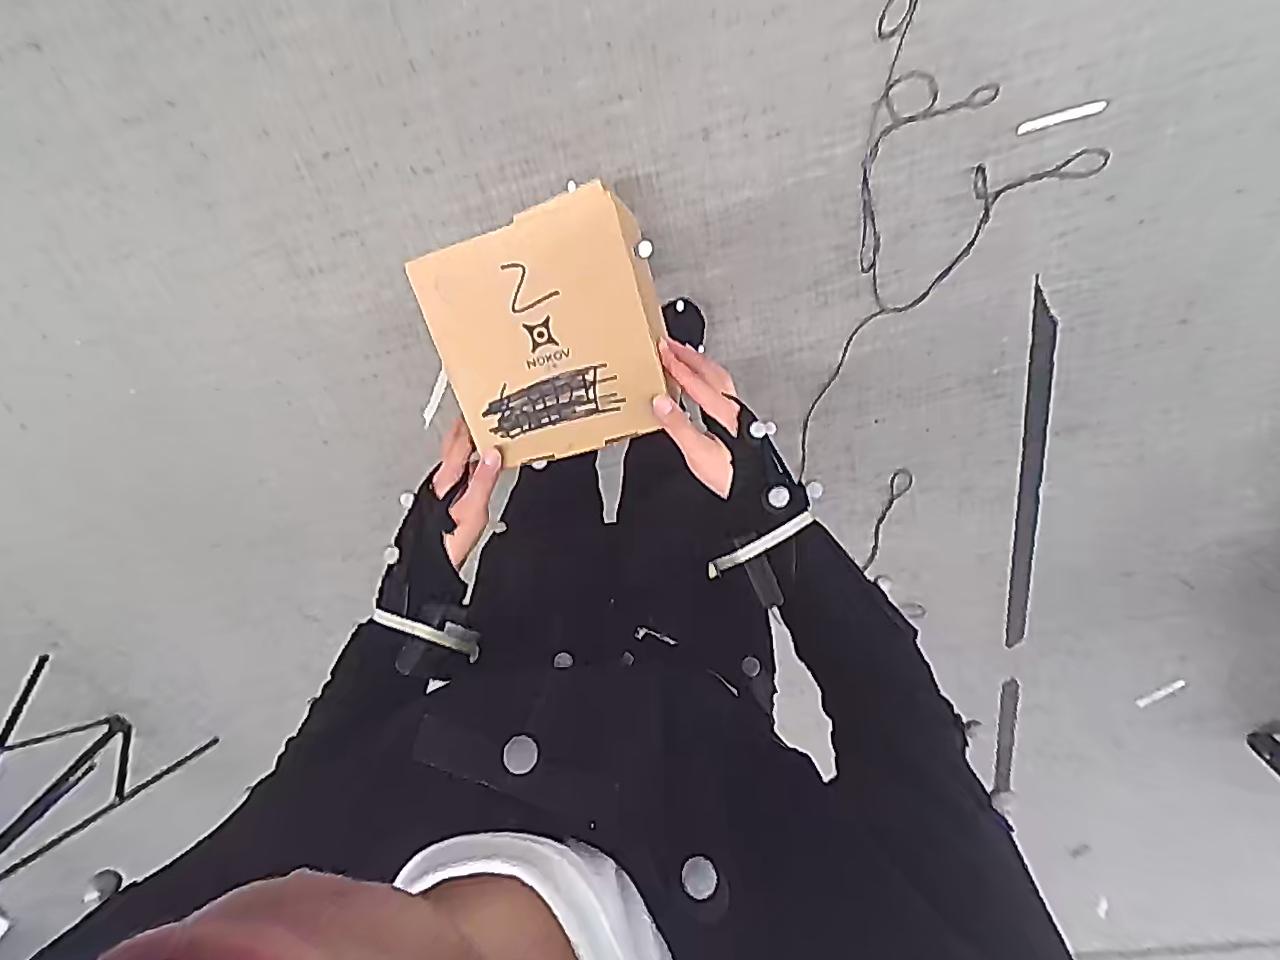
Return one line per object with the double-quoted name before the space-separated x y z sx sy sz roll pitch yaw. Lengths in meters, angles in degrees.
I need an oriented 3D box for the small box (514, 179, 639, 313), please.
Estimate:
"small box" -0.108 -0.437 1.006 0.168 0.176 0.179 -17 117 12
